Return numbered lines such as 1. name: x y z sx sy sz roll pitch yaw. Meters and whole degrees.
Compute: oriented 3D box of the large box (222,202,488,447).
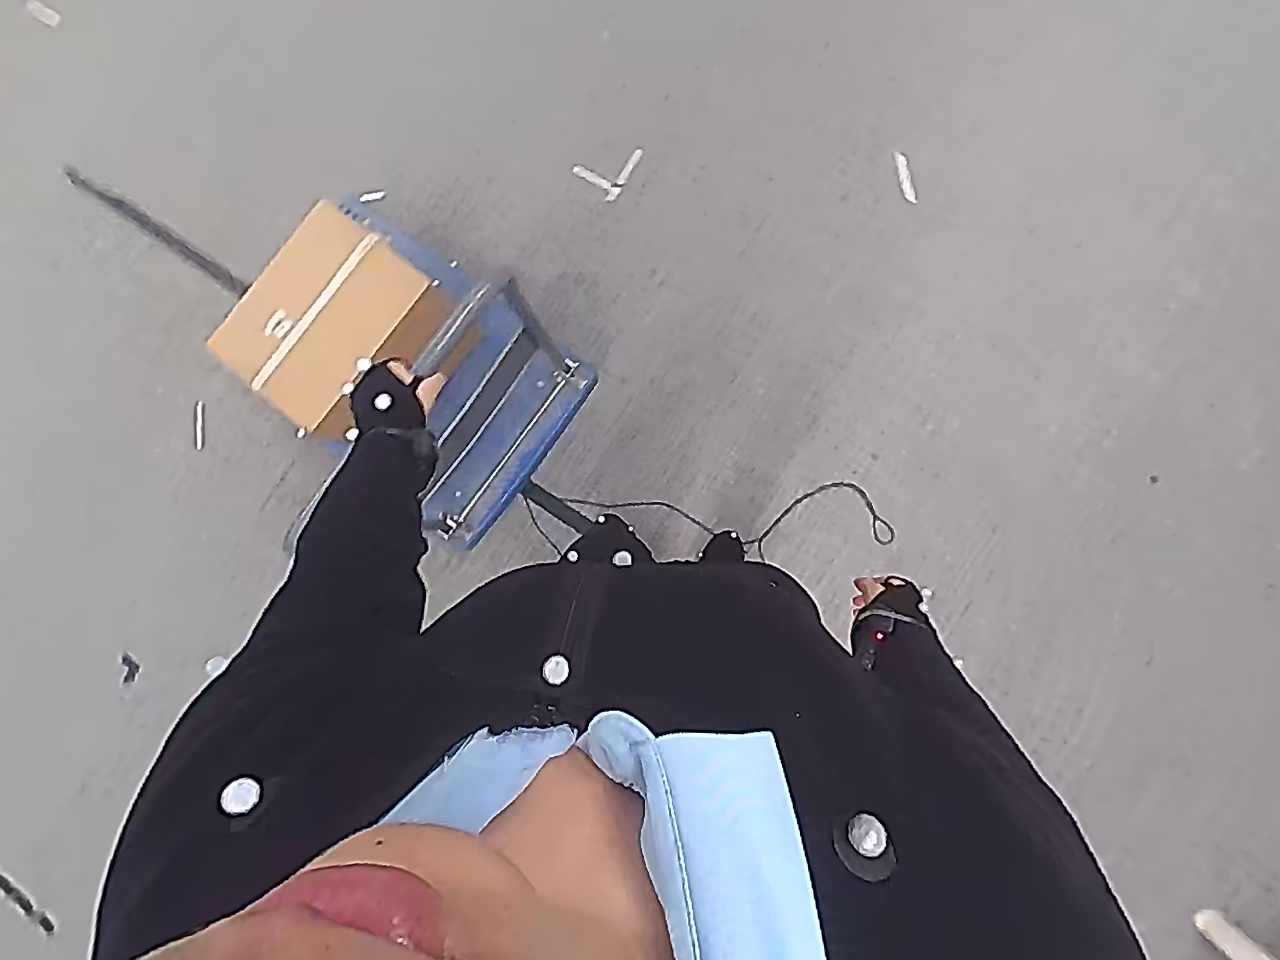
1. large box: -0.642 -0.339 1.282 0.320 0.320 0.408 39 91 8
